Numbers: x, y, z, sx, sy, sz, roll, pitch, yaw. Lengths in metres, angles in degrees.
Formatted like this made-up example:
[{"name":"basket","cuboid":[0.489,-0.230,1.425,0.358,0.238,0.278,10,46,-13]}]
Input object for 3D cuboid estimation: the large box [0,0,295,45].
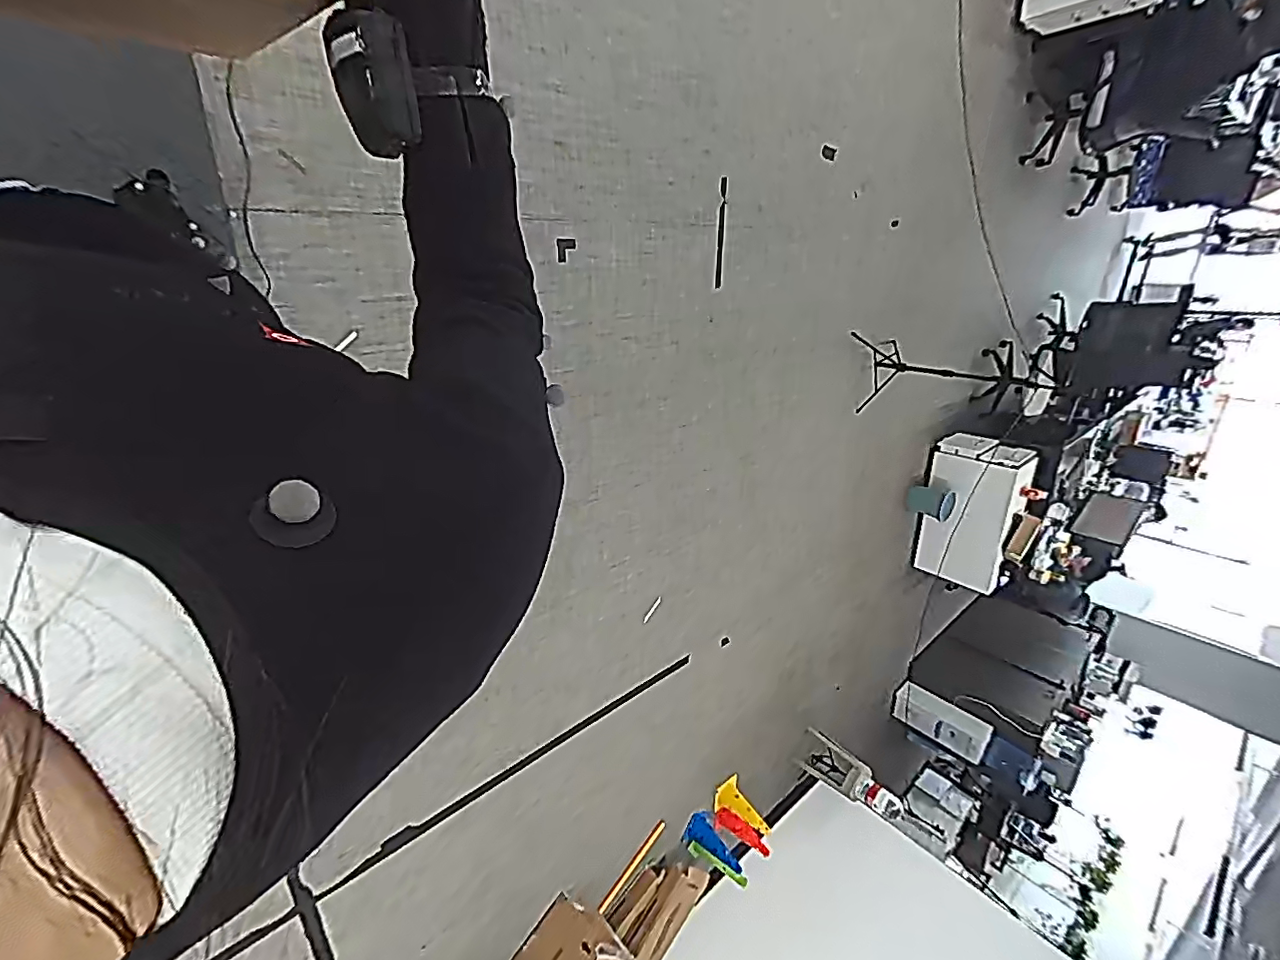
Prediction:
[{"name":"large box","cuboid":[-0.404,-0.411,0.204,0.408,0.320,0.320,-20,127,-37]}]
